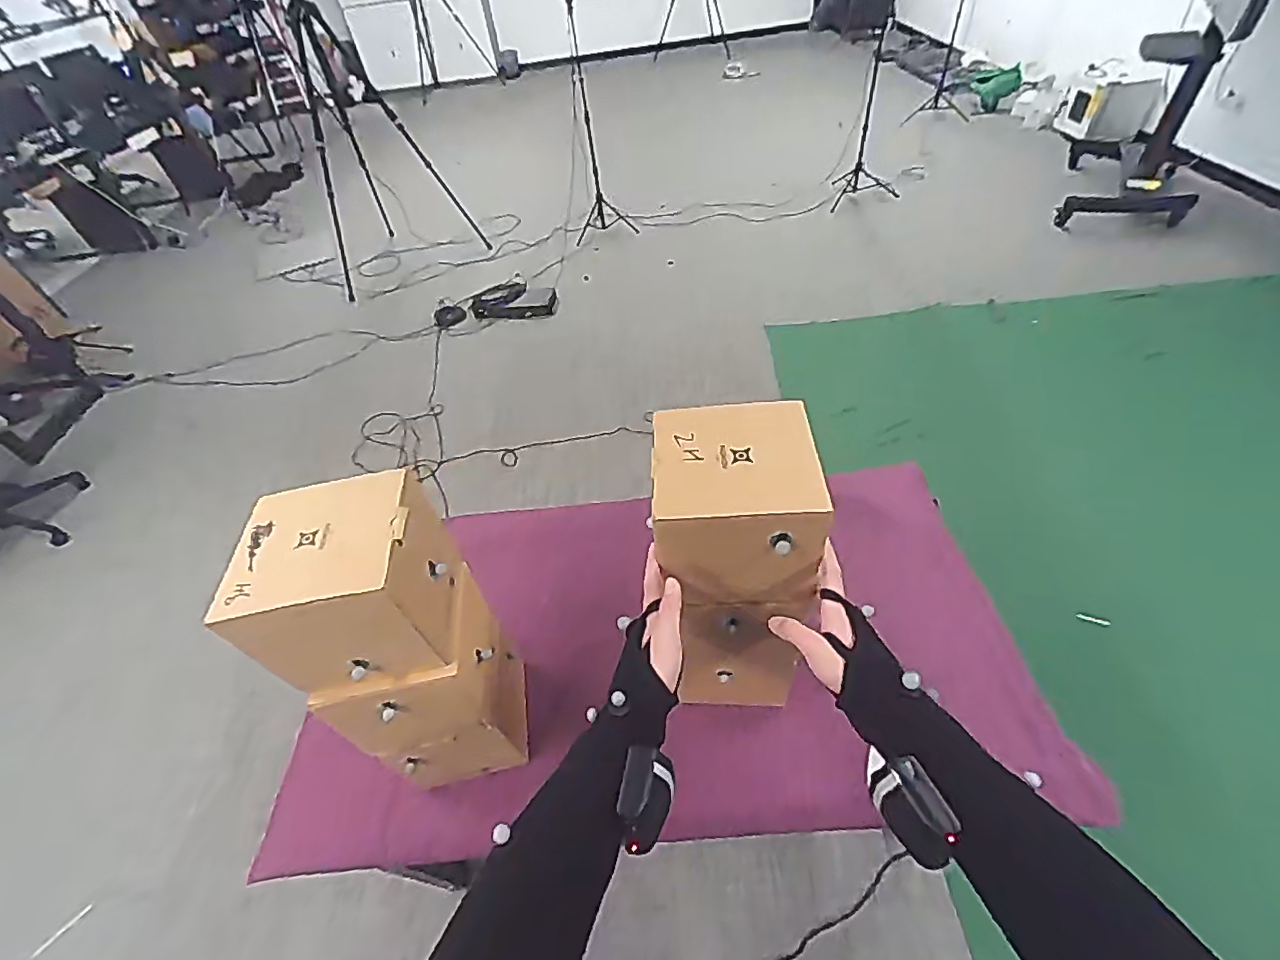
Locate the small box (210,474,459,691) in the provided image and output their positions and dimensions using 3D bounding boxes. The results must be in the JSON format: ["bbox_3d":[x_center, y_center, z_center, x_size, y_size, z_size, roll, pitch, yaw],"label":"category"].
[{"bbox_3d":[-0.322,0.120,0.620,0.179,0.176,0.168,-10,46,-1],"label":"small box"}]

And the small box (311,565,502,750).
[{"bbox_3d":[-0.293,0.241,0.729,0.179,0.176,0.168,-11,46,-2],"label":"small box"}]

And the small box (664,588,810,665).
[{"bbox_3d":[0.129,0.147,0.753,0.179,0.176,0.168,-1,49,7],"label":"small box"}]

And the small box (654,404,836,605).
[{"bbox_3d":[0.111,0.033,0.628,0.179,0.176,0.168,-3,48,6],"label":"small box"}]

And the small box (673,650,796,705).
[{"bbox_3d":[0.149,0.253,0.876,0.179,0.176,0.168,0,48,7],"label":"small box"}]
